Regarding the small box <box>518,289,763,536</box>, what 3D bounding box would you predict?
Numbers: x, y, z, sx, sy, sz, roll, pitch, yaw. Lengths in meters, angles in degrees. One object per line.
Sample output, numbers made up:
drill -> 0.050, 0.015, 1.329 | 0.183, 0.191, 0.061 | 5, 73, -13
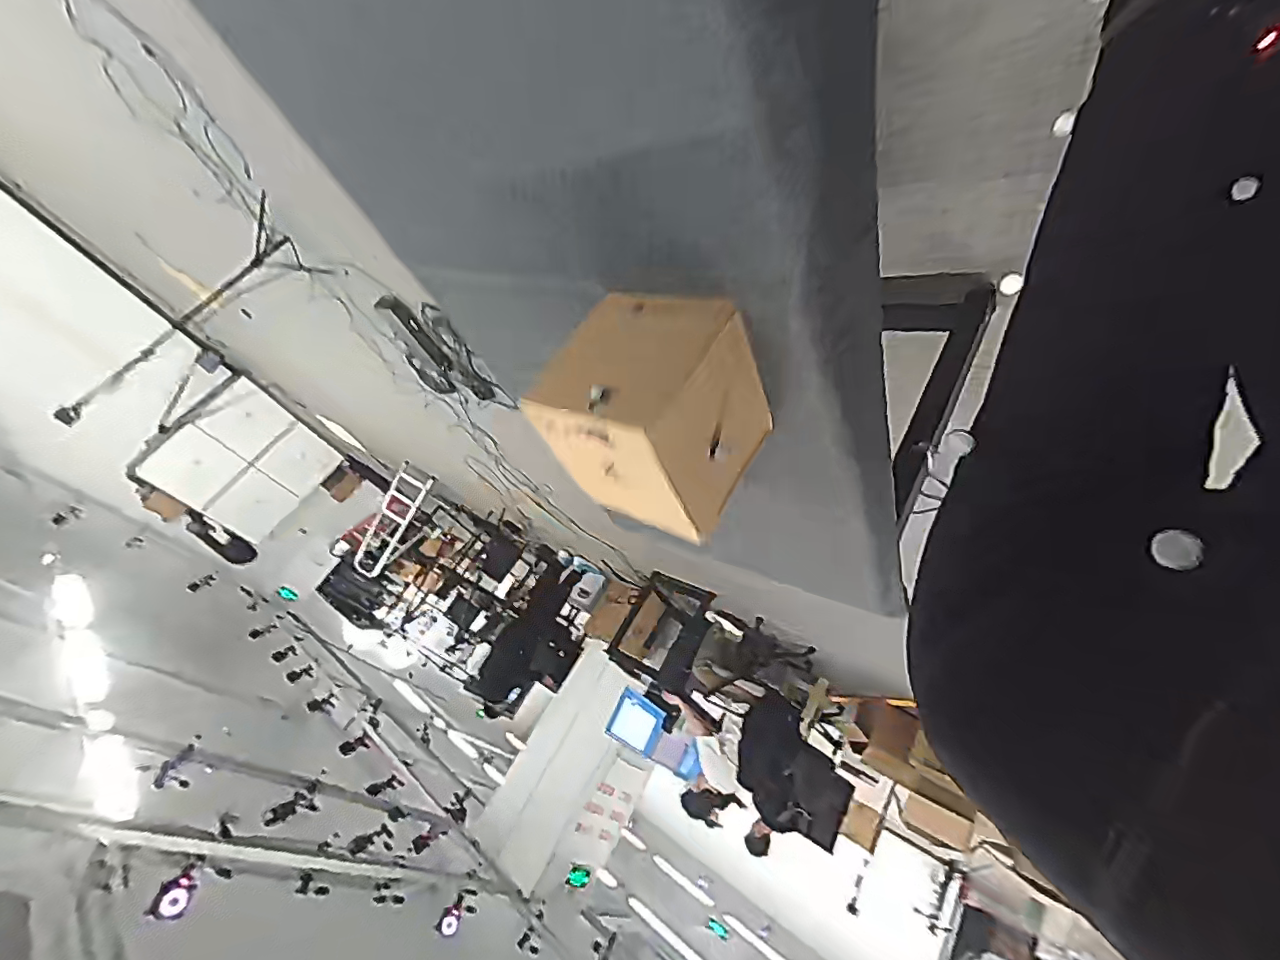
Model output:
small box -> 0.013, -0.075, 0.577 | 0.168, 0.176, 0.179 | 18, 153, 37
